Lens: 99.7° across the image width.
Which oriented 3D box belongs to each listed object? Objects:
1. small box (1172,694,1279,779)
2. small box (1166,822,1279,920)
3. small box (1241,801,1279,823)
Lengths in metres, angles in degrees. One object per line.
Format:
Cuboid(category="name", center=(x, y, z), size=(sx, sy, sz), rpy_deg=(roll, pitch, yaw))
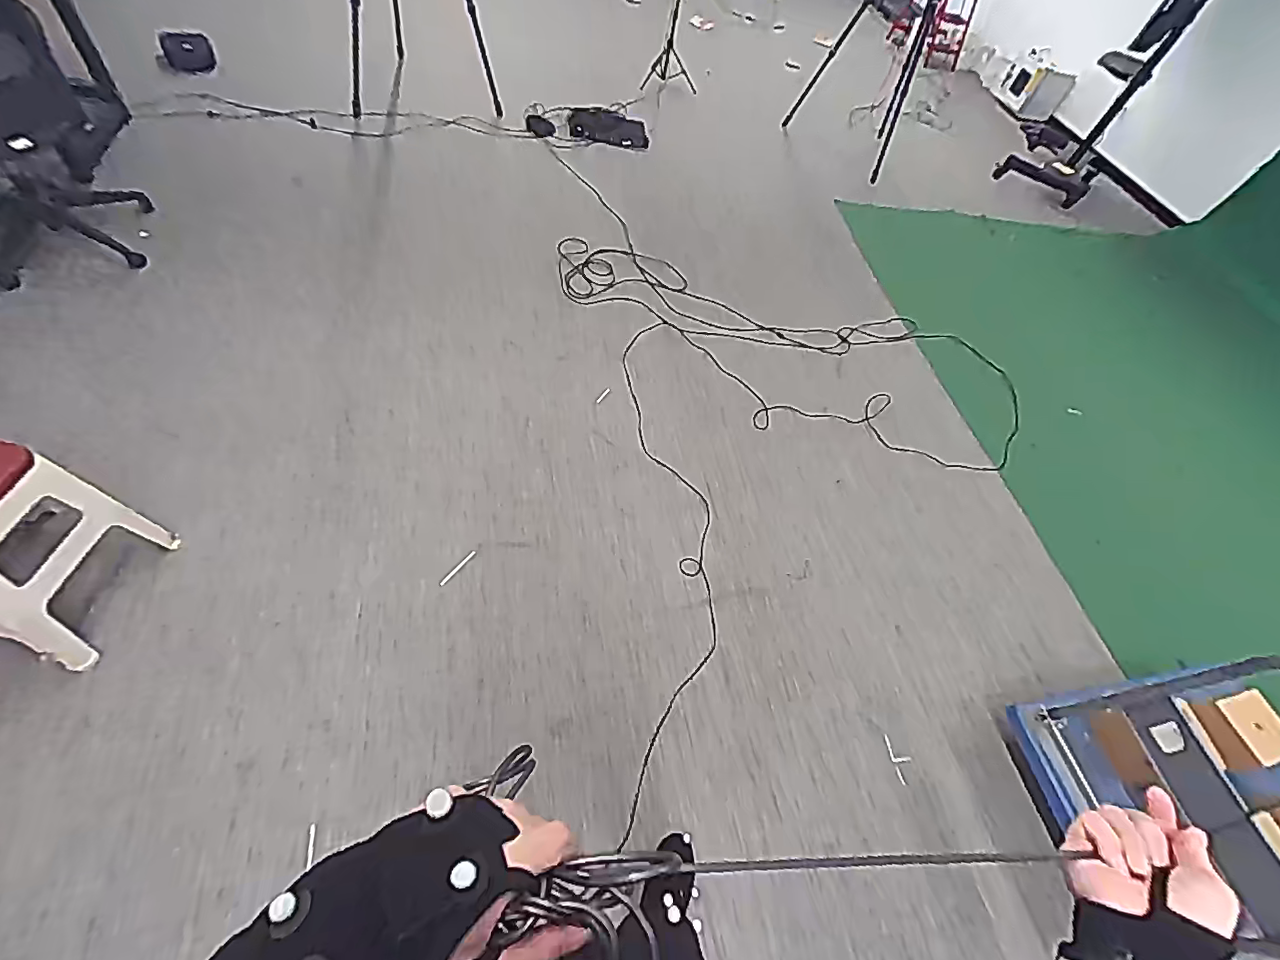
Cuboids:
Cuboid(category="small box", center=(1.653, 0.714, 1.500), size=(0.179, 0.176, 0.168), rpy_deg=(-6, 58, -16))
Cuboid(category="small box", center=(1.454, 0.935, 1.305), size=(0.179, 0.176, 0.168), rpy_deg=(-3, 56, -13))
Cuboid(category="small box", center=(1.716, 0.920, 1.369), size=(0.179, 0.176, 0.168), rpy_deg=(-7, 57, -15))
